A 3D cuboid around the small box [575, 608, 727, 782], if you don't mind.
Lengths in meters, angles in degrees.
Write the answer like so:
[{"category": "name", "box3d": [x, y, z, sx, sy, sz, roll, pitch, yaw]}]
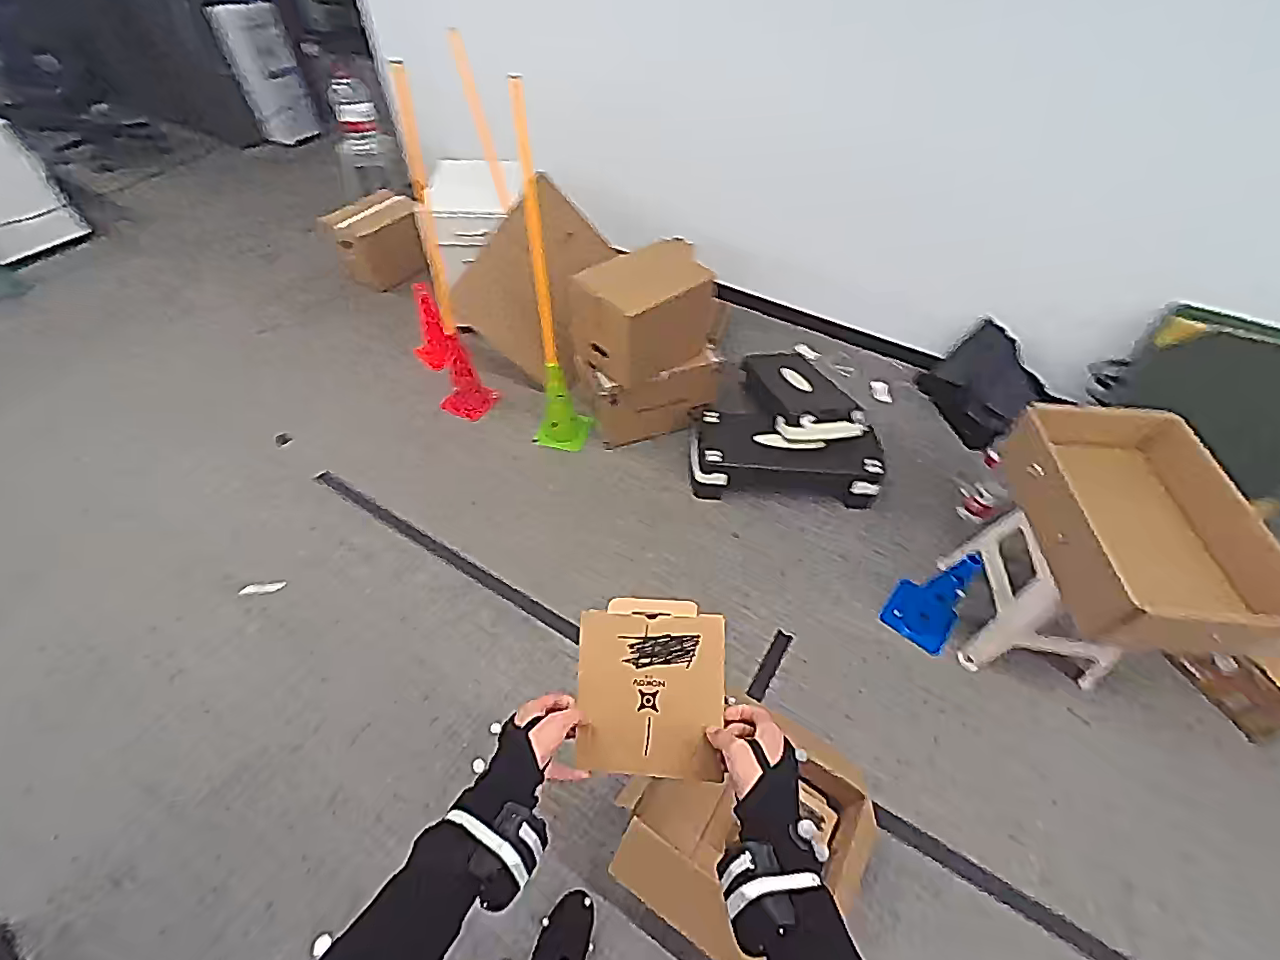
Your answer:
[{"category": "small box", "box3d": [0.023, 0.267, 0.691, 0.168, 0.176, 0.179, 1, 71, 8]}]
